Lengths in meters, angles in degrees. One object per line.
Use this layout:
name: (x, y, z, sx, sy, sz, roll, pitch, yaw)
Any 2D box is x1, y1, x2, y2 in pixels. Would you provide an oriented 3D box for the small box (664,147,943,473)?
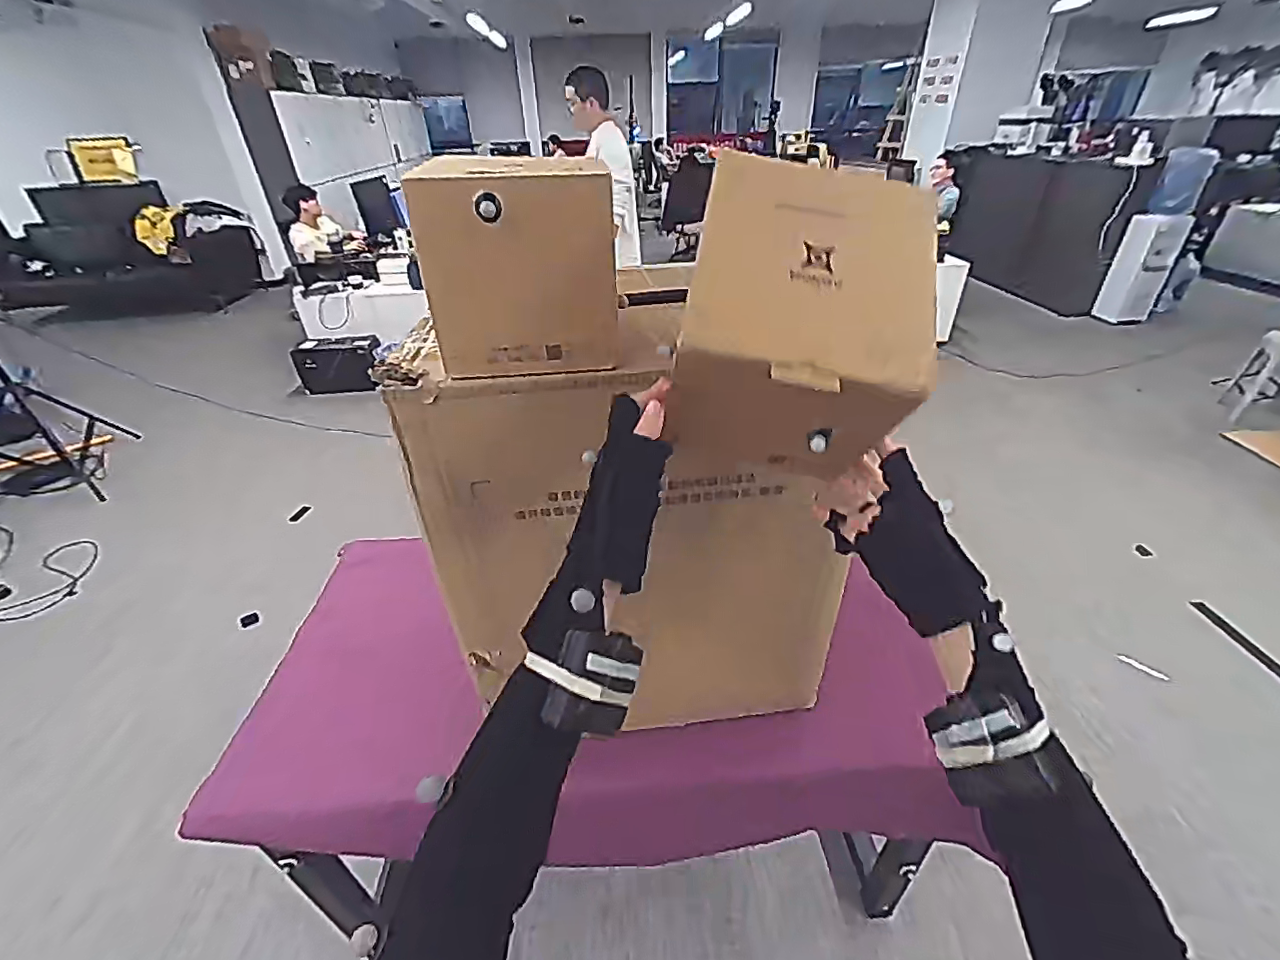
small box: (0.117, -0.121, 0.440, 0.168, 0.176, 0.179, 11, 70, -1)

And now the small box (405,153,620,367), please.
small box: (-0.109, -0.221, 0.532, 0.168, 0.176, 0.179, -5, 34, -5)
